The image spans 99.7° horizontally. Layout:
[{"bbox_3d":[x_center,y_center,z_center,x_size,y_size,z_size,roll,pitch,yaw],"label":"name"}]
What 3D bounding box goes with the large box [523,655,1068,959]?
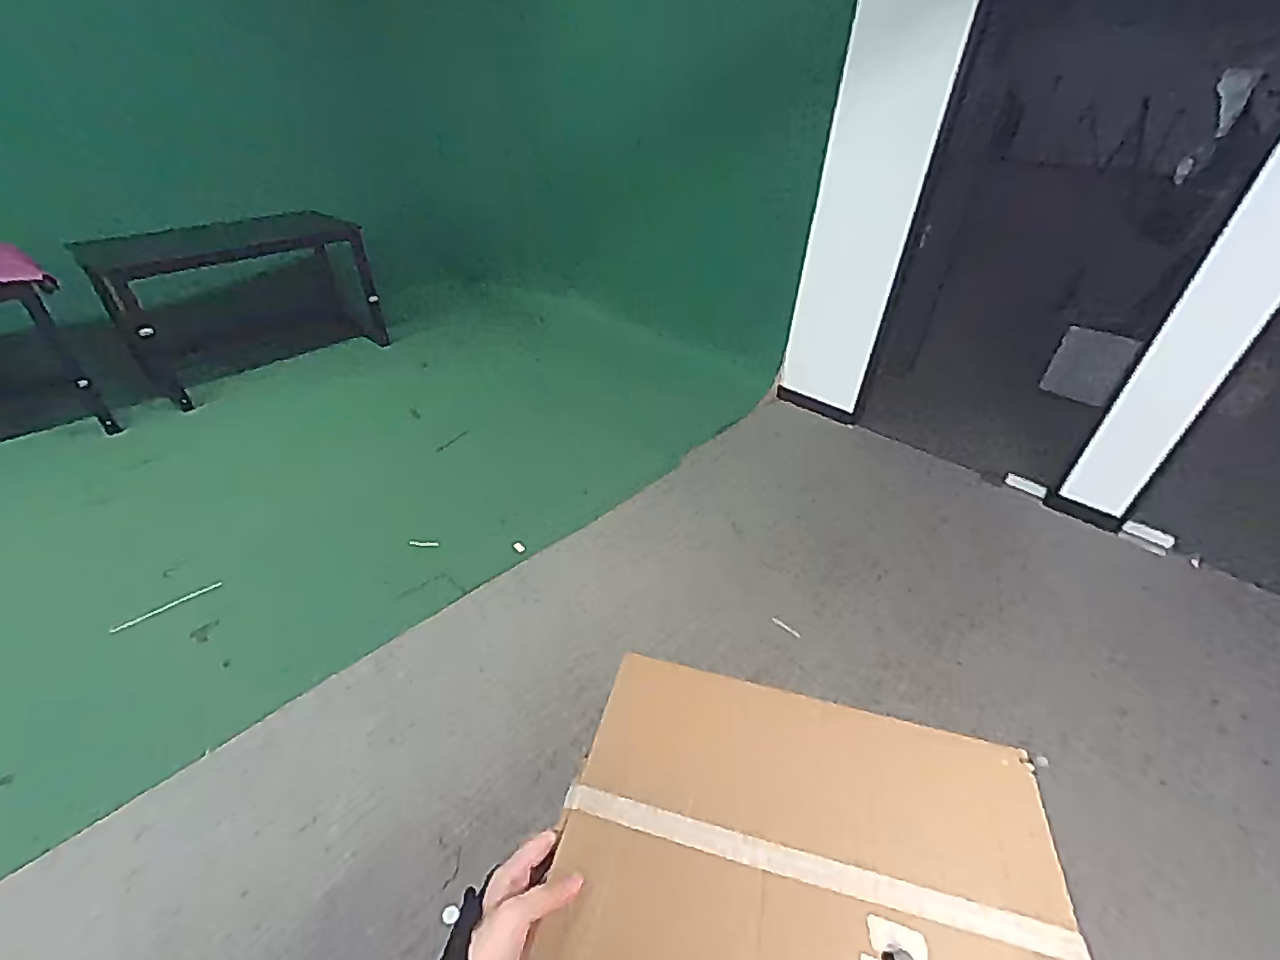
[{"bbox_3d":[0.128,0.436,0.545,0.408,0.320,0.320,11,39,11],"label":"large box"}]
